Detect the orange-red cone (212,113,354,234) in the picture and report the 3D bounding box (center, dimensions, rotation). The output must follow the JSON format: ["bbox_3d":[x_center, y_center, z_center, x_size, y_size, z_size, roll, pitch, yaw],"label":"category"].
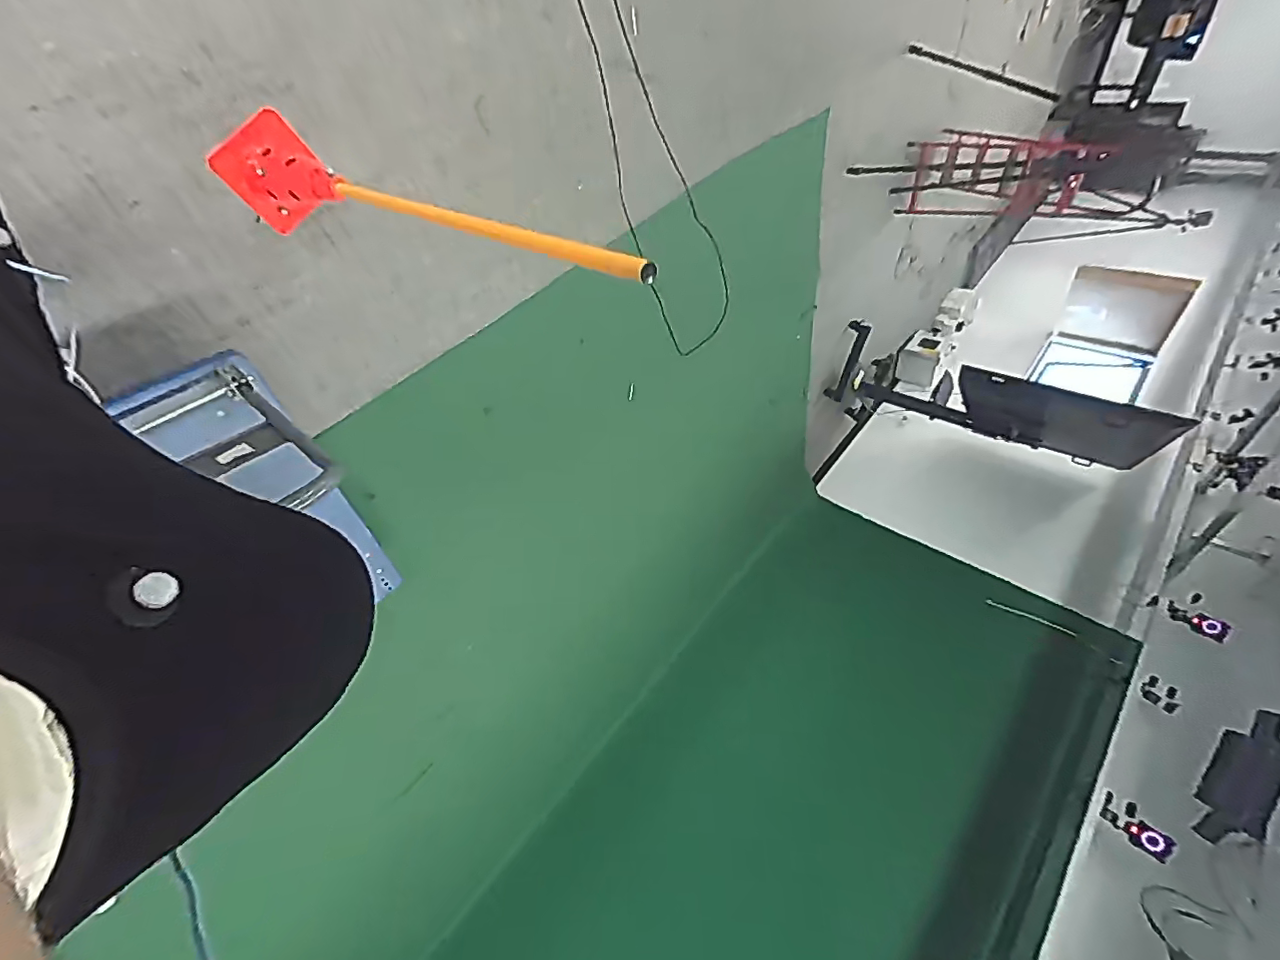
[{"bbox_3d":[-0.720,-0.646,1.173,0.199,0.360,0.198,-54,147,-14],"label":"orange-red cone"}]
